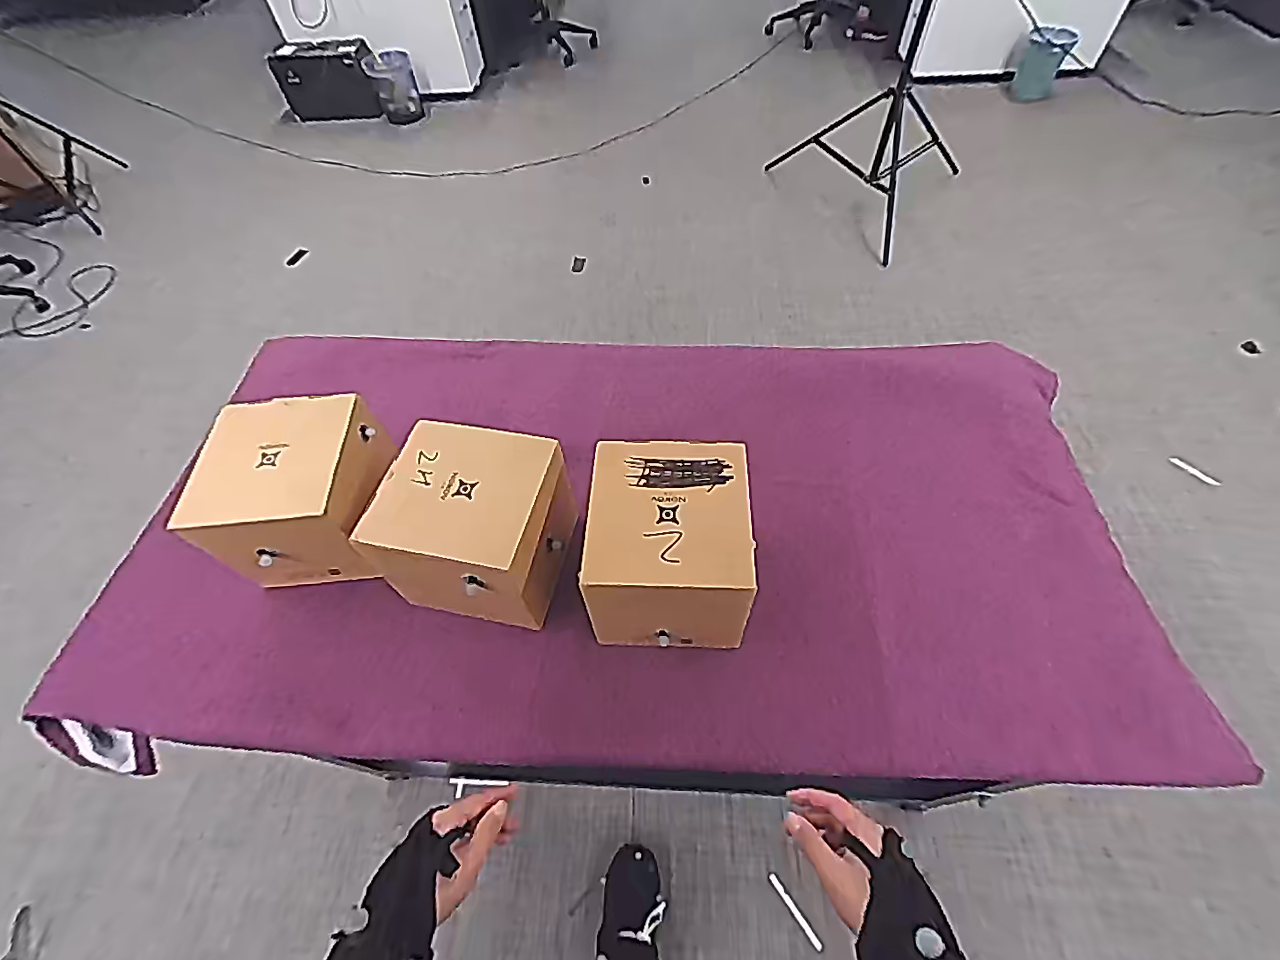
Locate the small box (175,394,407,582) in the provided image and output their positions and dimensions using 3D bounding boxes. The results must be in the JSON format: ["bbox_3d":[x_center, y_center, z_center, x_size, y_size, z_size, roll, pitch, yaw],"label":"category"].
[{"bbox_3d":[-0.414,0.019,0.681,0.168,0.176,0.179,-6,56,-1],"label":"small box"}]
